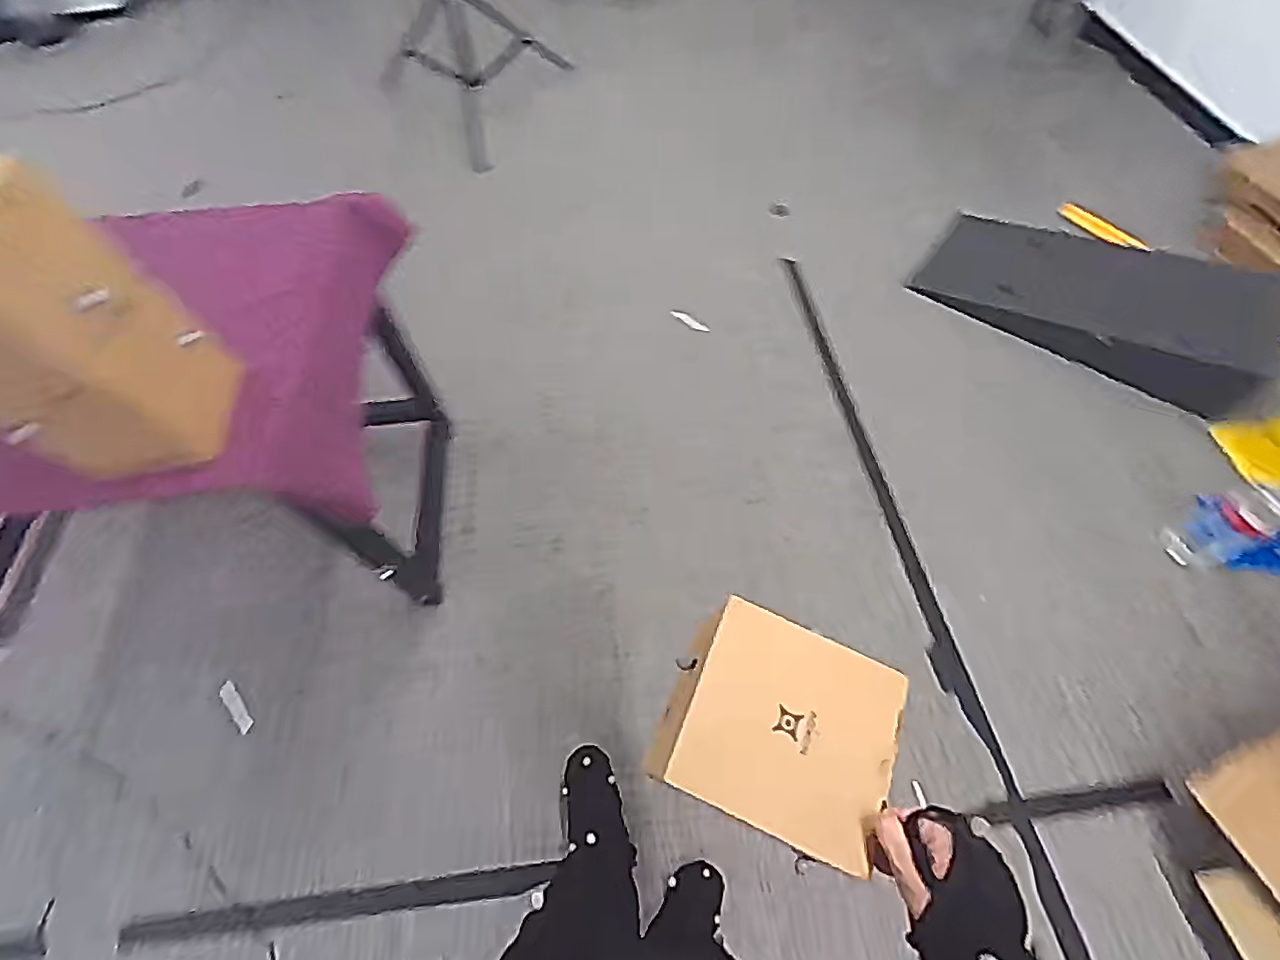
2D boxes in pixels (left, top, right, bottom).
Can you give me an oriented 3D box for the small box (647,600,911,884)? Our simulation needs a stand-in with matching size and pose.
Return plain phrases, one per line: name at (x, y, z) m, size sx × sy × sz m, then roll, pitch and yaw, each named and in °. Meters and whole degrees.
small box at (0.119, 0.241, 0.517) m, size 0.179 × 0.176 × 0.168 m, roll 24°, pitch 64°, yaw 4°
